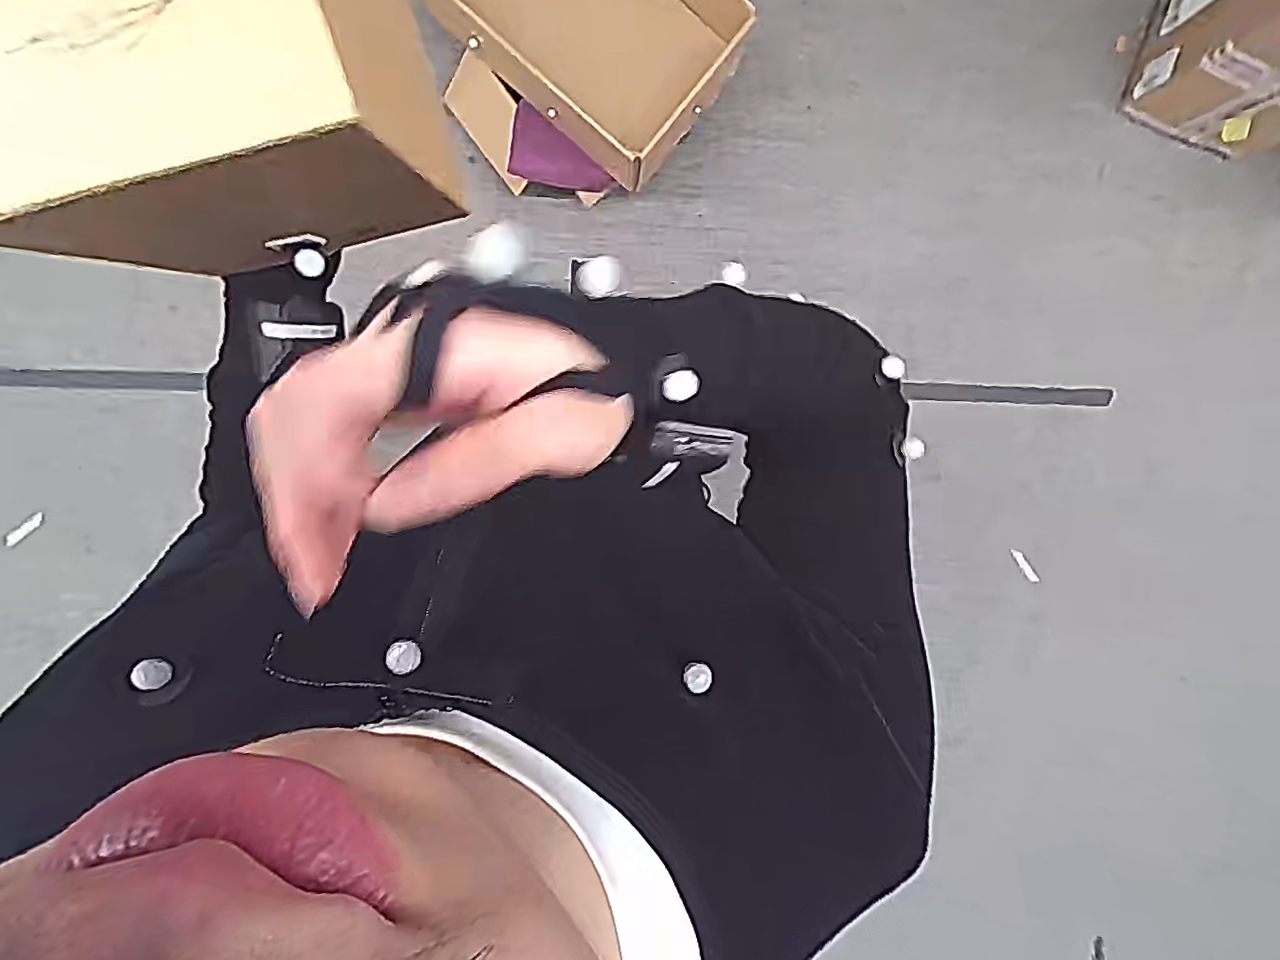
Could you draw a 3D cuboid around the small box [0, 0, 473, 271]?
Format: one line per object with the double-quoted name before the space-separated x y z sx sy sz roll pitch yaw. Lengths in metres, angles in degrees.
"small box" -0.198 -0.213 0.253 0.168 0.176 0.179 -14 107 1
